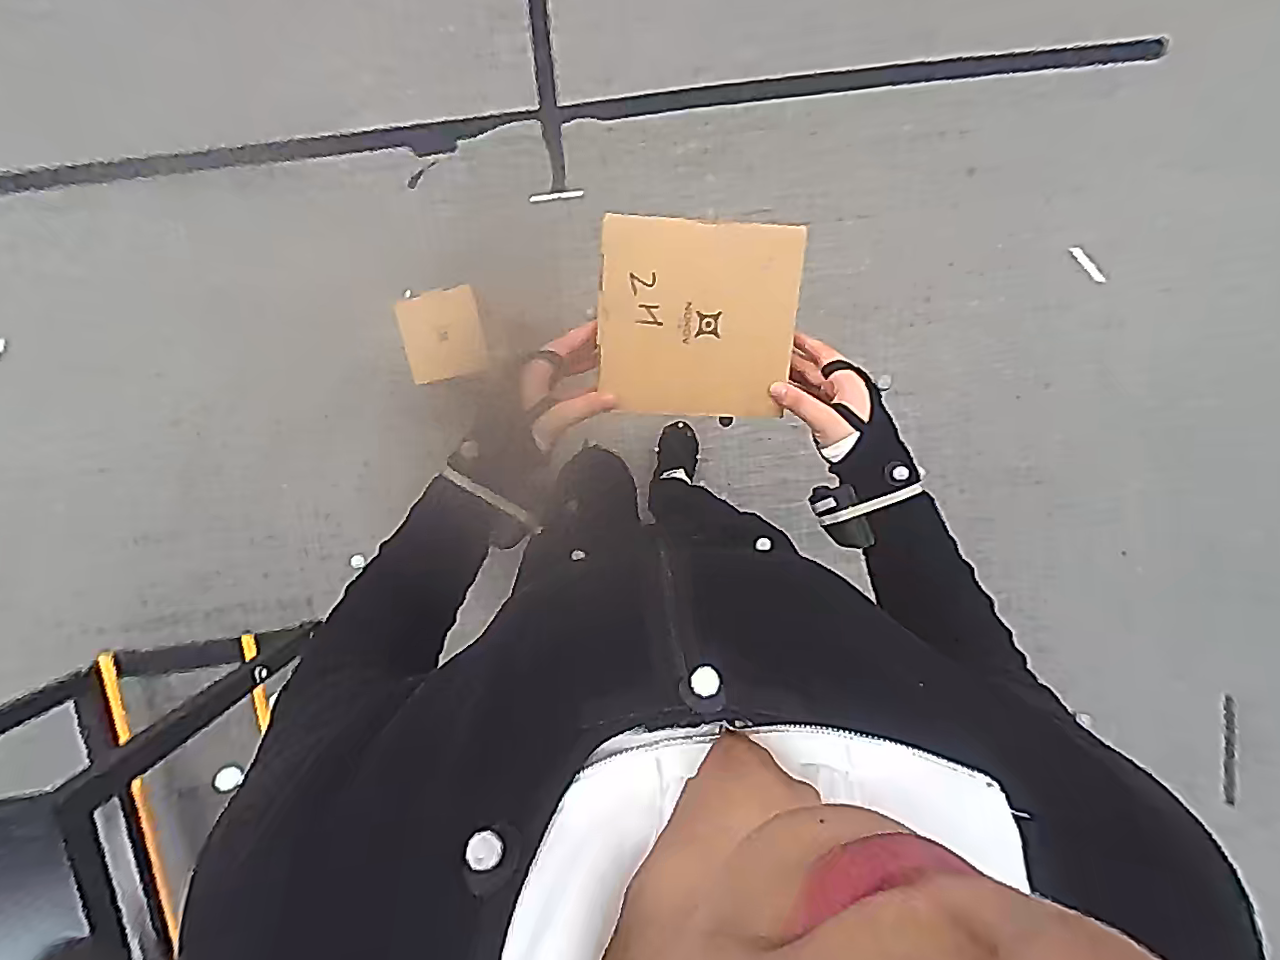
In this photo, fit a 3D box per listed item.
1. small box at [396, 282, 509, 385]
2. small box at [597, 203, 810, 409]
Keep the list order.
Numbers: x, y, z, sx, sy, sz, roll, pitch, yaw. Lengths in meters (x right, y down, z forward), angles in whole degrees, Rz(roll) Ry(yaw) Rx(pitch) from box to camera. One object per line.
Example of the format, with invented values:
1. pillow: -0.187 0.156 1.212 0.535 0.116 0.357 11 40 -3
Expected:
1. small box: -0.401 -0.313 1.183 0.168 0.176 0.179 -13 99 1
2. small box: 0.047 -0.172 0.547 0.179 0.176 0.168 2 108 -4
